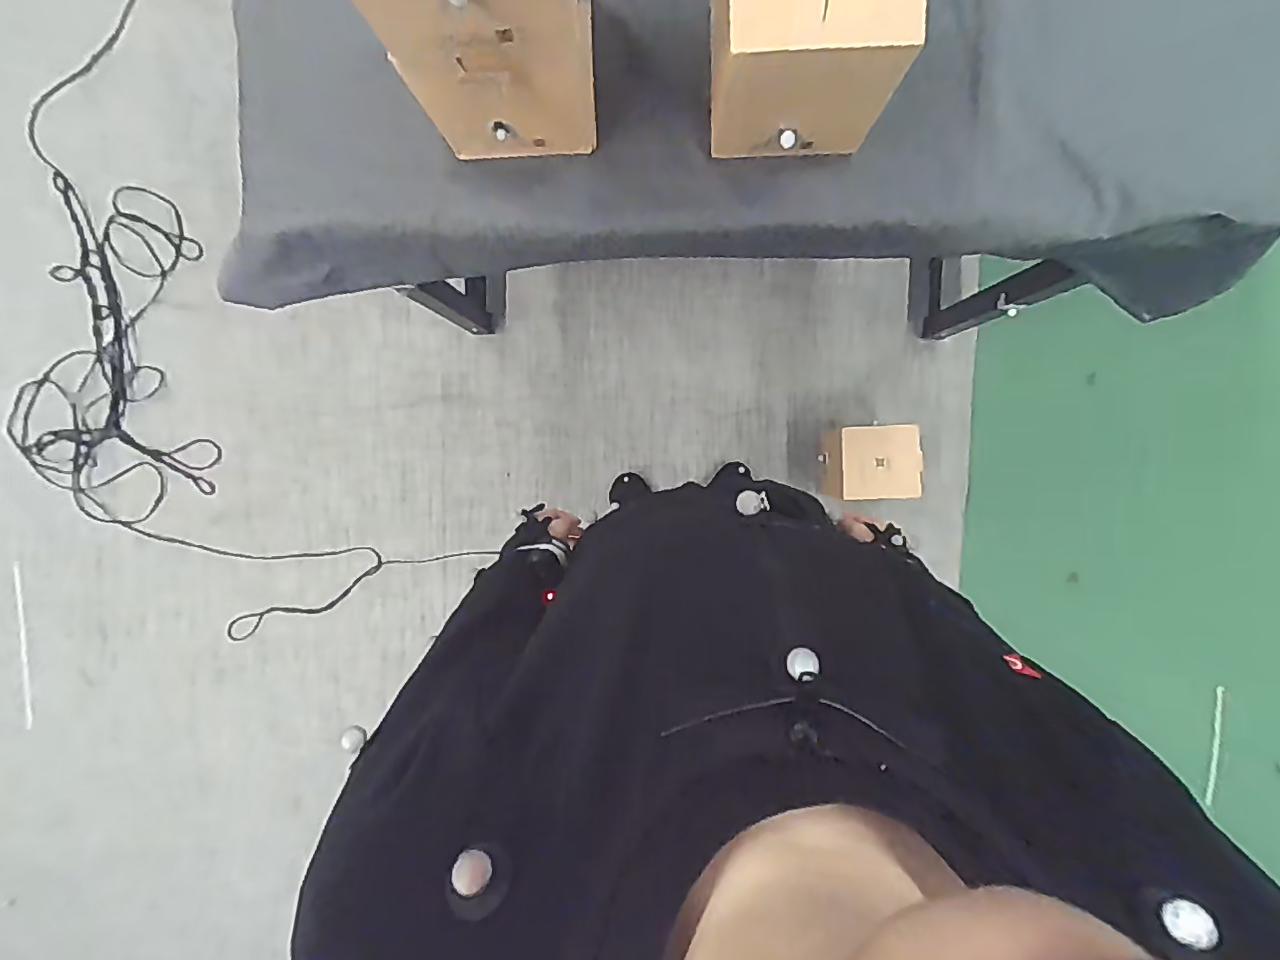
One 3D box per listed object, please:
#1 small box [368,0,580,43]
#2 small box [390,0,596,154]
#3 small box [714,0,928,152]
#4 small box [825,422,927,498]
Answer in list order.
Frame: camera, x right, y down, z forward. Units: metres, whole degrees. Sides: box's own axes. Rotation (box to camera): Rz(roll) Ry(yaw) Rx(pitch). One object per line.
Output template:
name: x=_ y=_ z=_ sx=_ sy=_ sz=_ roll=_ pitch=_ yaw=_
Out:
small box: x=-0.139 y=-0.453 z=0.384 sx=0.168 sy=0.176 sz=0.179 roll=-3 pitch=94 yaw=2
small box: x=-0.137 y=-0.466 z=0.547 sx=0.168 sy=0.176 sz=0.179 roll=-2 pitch=94 yaw=2
small box: x=0.161 y=-0.458 z=0.531 sx=0.168 sy=0.176 sz=0.179 roll=0 pitch=93 yaw=3
small box: x=0.548 y=-0.049 z=1.271 sx=0.179 sy=0.176 sz=0.168 roll=-2 pitch=93 yaw=5
